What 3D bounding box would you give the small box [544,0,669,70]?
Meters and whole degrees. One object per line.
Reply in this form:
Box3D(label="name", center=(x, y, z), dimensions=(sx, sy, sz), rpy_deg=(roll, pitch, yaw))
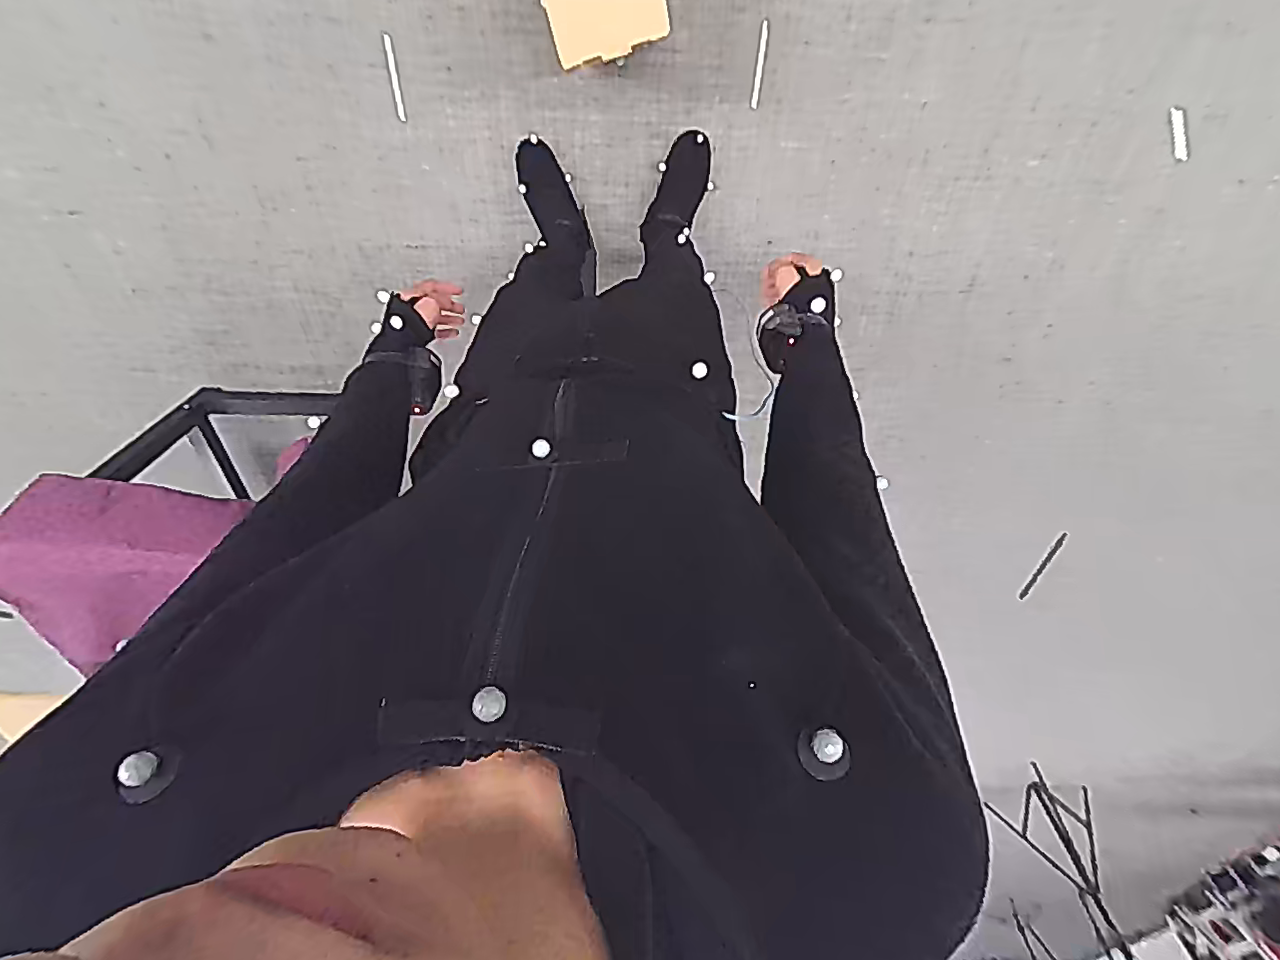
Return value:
Box3D(label="small box", center=(-0.056, -0.735, 0.793), dimensions=(0.168, 0.176, 0.179), rpy_deg=(-12, 129, 8))
